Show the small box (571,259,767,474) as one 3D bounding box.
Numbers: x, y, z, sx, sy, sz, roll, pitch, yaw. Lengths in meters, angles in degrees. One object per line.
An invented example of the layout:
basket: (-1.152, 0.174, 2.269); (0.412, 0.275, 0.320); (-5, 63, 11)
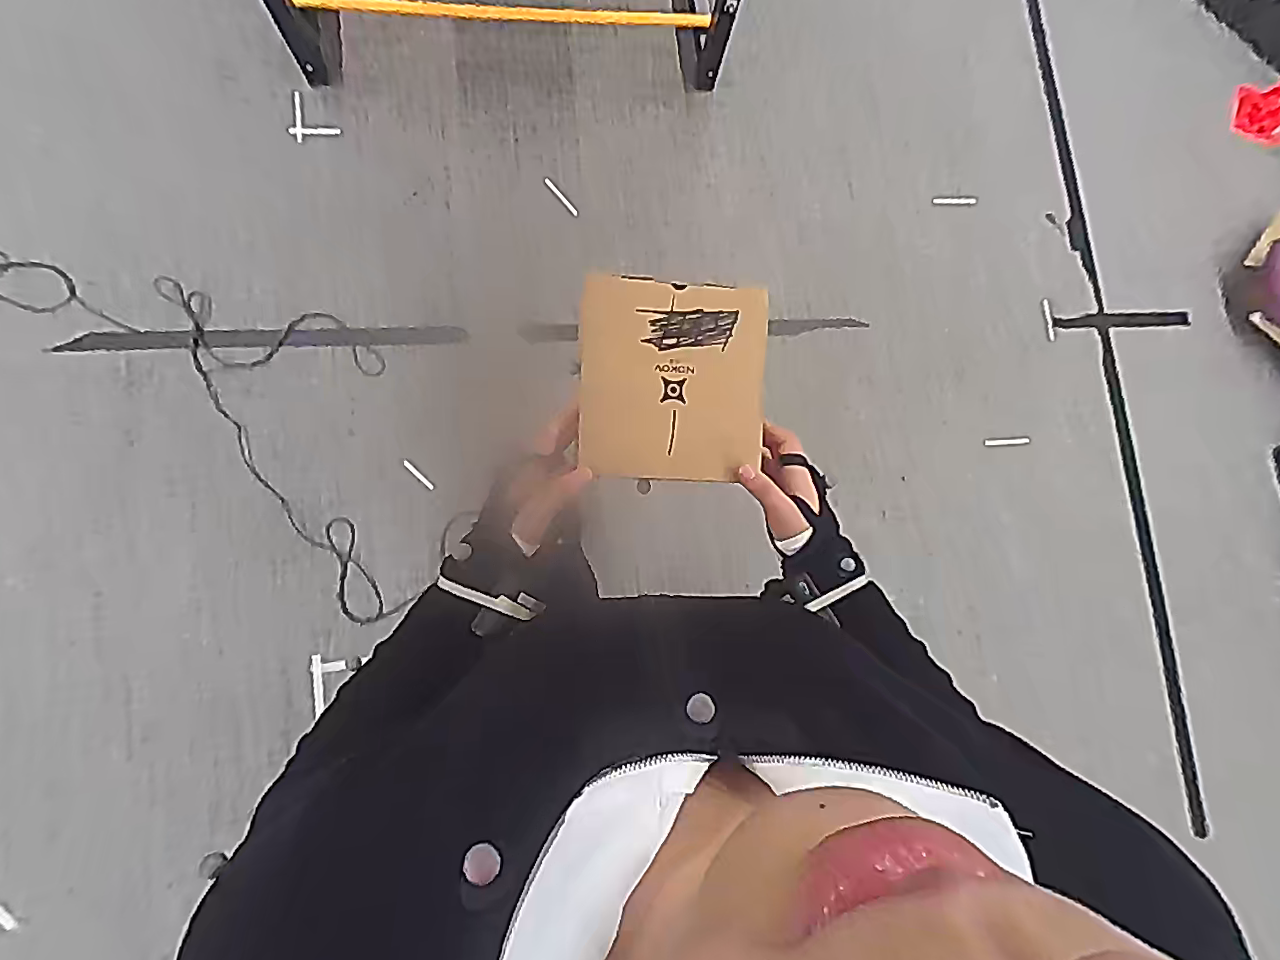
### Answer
small box: (0.018, -0.098, 0.547); (0.168, 0.176, 0.179); (2, 90, -8)
